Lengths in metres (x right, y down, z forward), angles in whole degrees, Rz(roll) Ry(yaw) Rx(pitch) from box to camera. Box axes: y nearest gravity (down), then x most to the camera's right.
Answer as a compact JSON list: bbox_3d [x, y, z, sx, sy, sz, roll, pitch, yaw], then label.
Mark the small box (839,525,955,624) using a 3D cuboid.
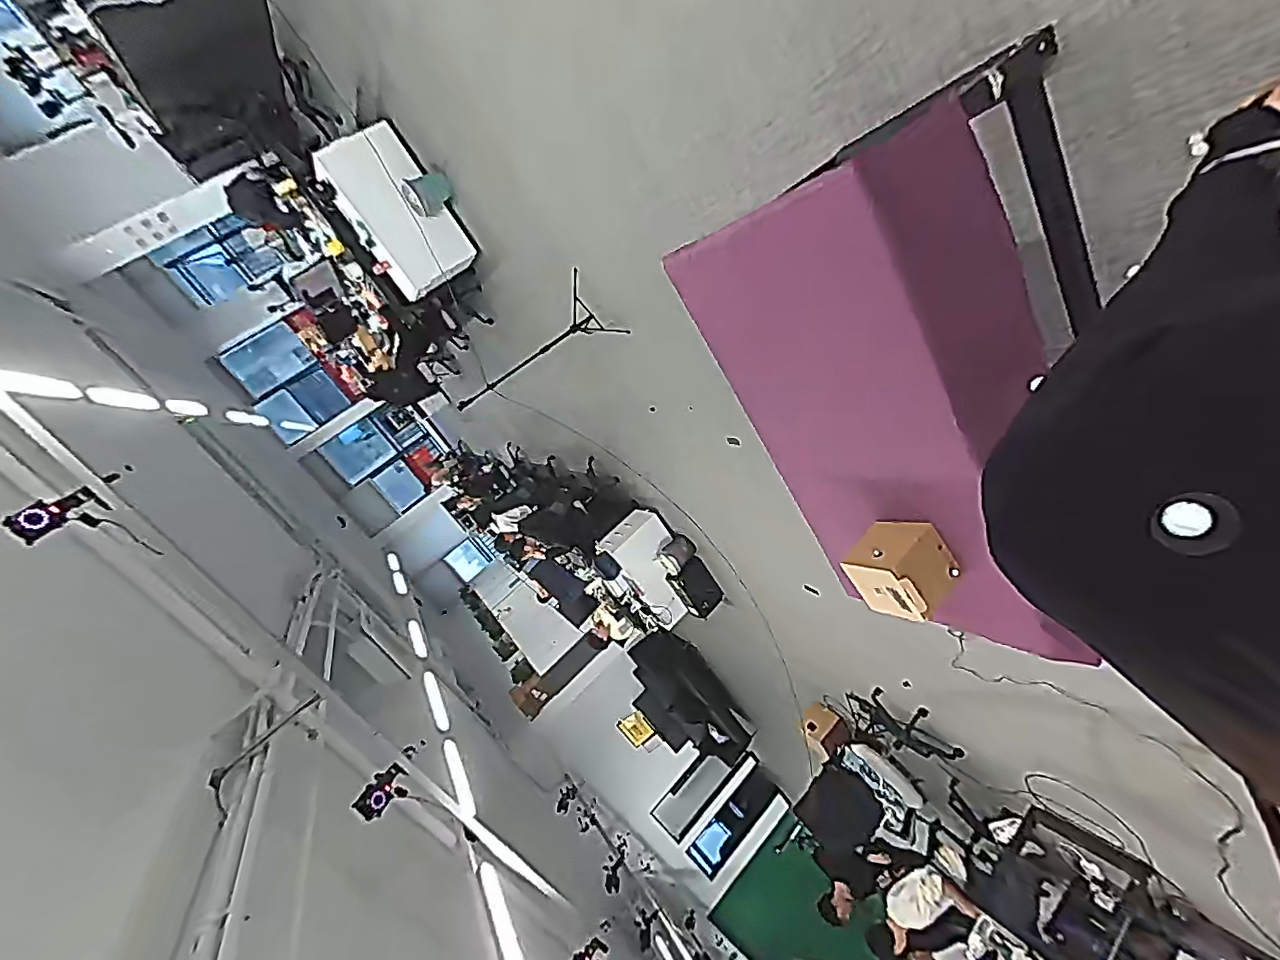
[{"bbox_3d":[0.644,0.226,1.343,0.168,0.176,0.179,53,161,-11],"label":"small box"}]
